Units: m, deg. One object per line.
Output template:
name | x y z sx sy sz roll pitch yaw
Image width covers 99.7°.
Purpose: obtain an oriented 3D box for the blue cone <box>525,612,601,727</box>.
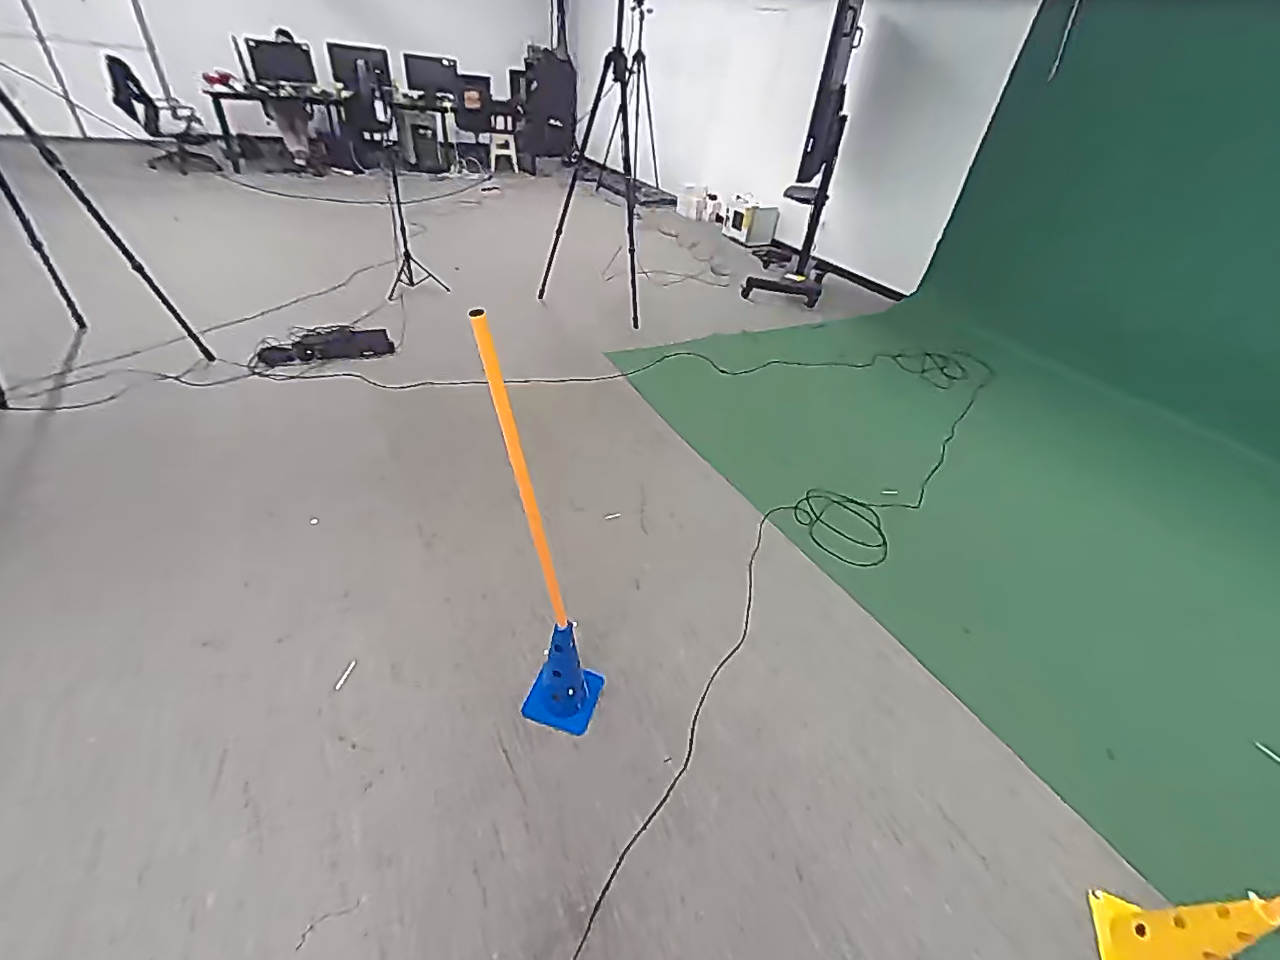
blue cone | -0.216 0.502 1.494 0.193 0.380 0.192 13 40 10
